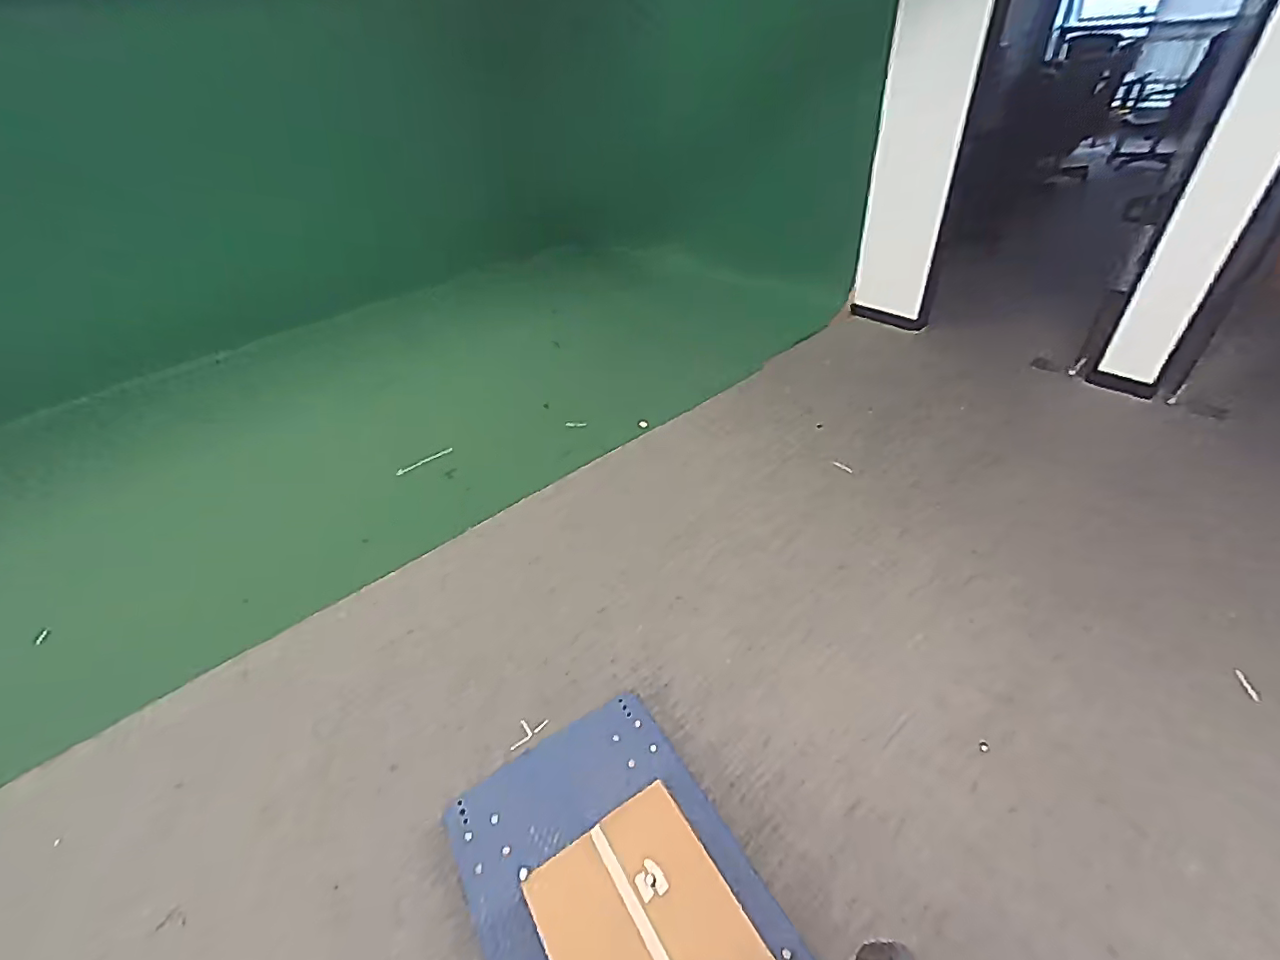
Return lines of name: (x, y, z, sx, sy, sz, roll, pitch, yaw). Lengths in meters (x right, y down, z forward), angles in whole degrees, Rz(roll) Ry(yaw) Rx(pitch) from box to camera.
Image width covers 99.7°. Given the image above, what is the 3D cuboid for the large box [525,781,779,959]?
large box: (0.036, 0.890, 1.019, 0.320, 0.320, 0.408, -26, 42, -21)
